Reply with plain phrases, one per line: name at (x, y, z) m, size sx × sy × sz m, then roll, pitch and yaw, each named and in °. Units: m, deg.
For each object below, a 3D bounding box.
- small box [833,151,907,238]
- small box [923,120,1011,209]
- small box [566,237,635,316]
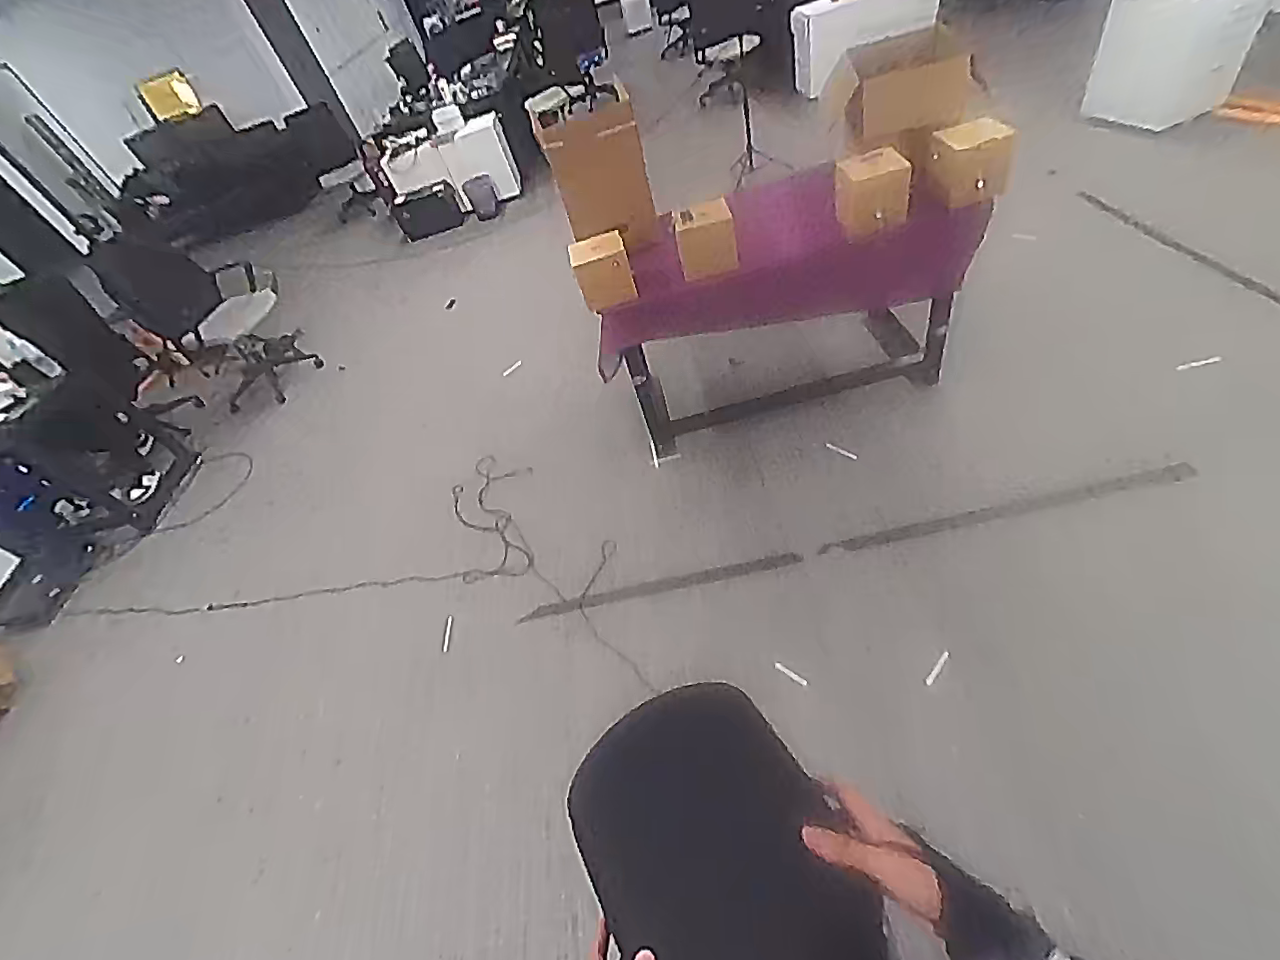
small box at (0.702, -0.881, 1.674) m, size 0.168 × 0.176 × 0.179 m, roll -13°, pitch 47°, yaw 9°
small box at (0.975, -0.949, 1.632) m, size 0.168 × 0.176 × 0.179 m, roll -13°, pitch 46°, yaw 9°
small box at (-0.129, -0.664, 1.779) m, size 0.179 × 0.176 × 0.168 m, roll -17°, pitch 45°, yaw 3°
